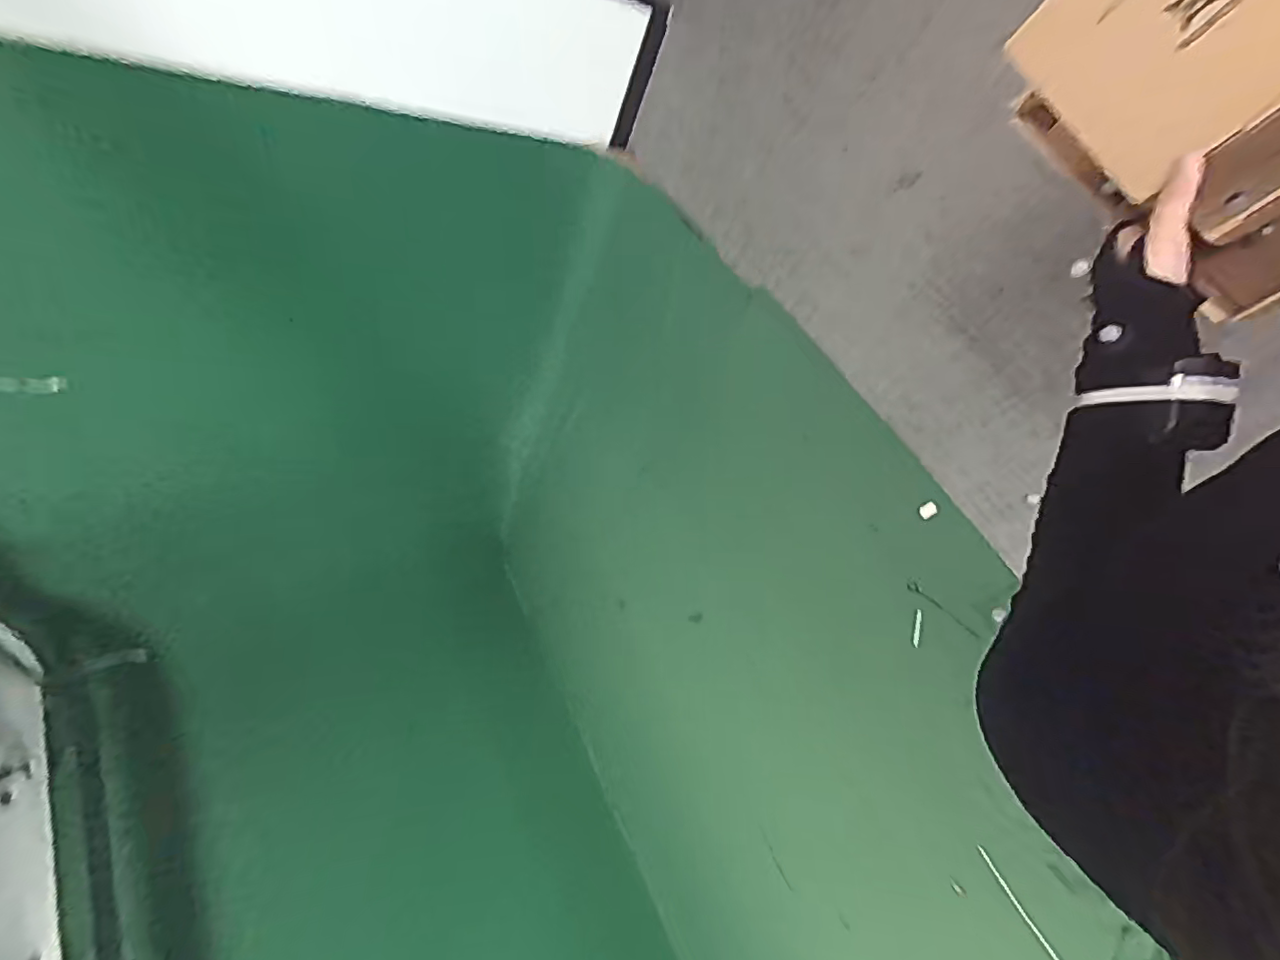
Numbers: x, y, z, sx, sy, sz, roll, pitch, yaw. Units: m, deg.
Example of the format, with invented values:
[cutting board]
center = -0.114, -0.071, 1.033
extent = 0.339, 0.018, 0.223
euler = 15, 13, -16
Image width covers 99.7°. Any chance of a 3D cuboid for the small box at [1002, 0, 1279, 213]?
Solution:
[small box]
center = 0.435, -0.331, 0.414
extent = 0.168, 0.176, 0.179
euler = -43, 68, 50
